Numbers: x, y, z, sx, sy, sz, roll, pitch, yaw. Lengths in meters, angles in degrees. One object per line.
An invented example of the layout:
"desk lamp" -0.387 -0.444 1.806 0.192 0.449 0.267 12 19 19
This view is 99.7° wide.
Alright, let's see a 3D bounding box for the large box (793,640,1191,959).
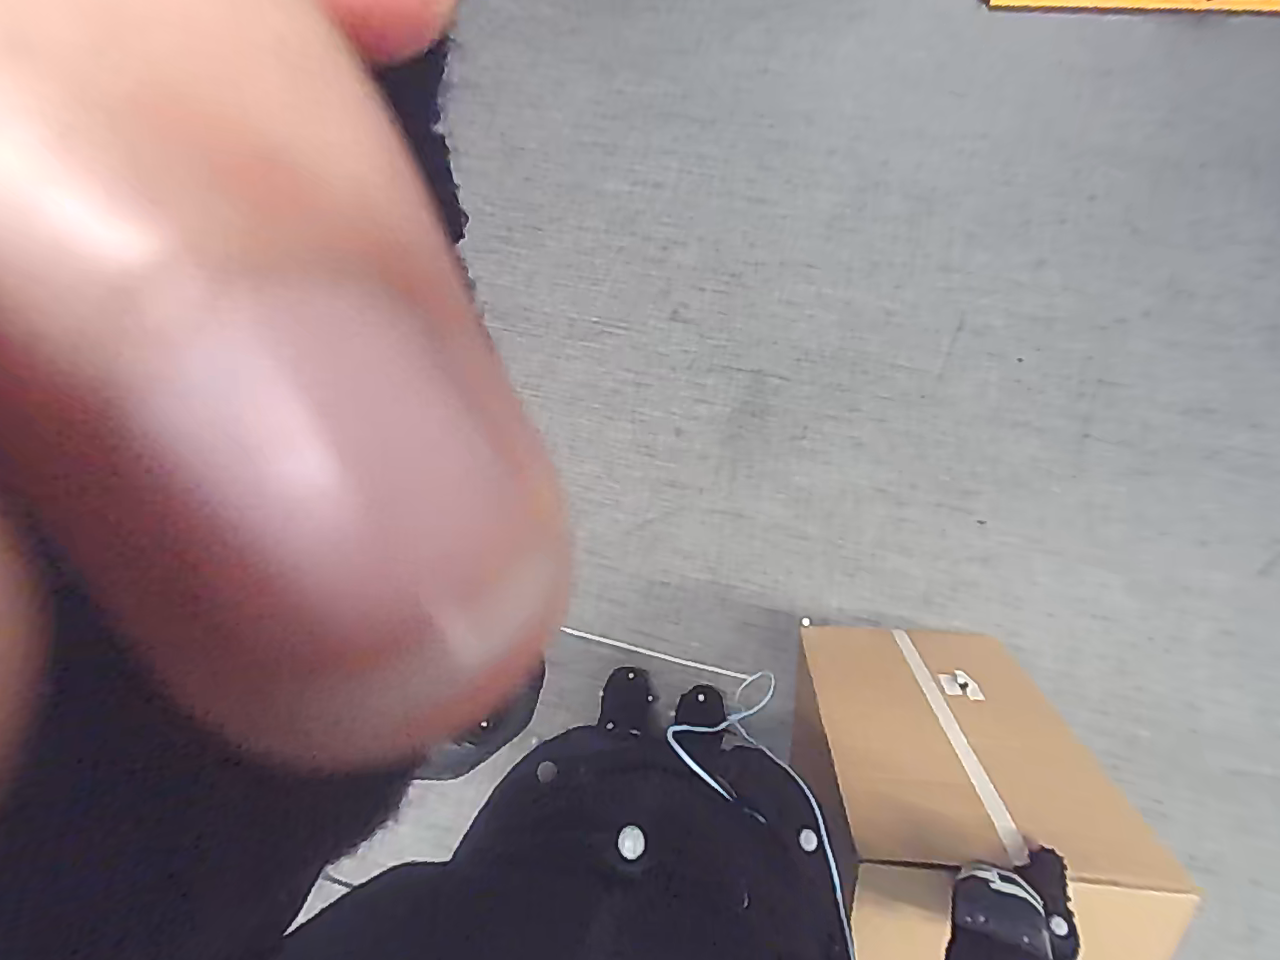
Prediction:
"large box" 0.405 0.480 0.762 0.320 0.408 0.320 2 109 7
